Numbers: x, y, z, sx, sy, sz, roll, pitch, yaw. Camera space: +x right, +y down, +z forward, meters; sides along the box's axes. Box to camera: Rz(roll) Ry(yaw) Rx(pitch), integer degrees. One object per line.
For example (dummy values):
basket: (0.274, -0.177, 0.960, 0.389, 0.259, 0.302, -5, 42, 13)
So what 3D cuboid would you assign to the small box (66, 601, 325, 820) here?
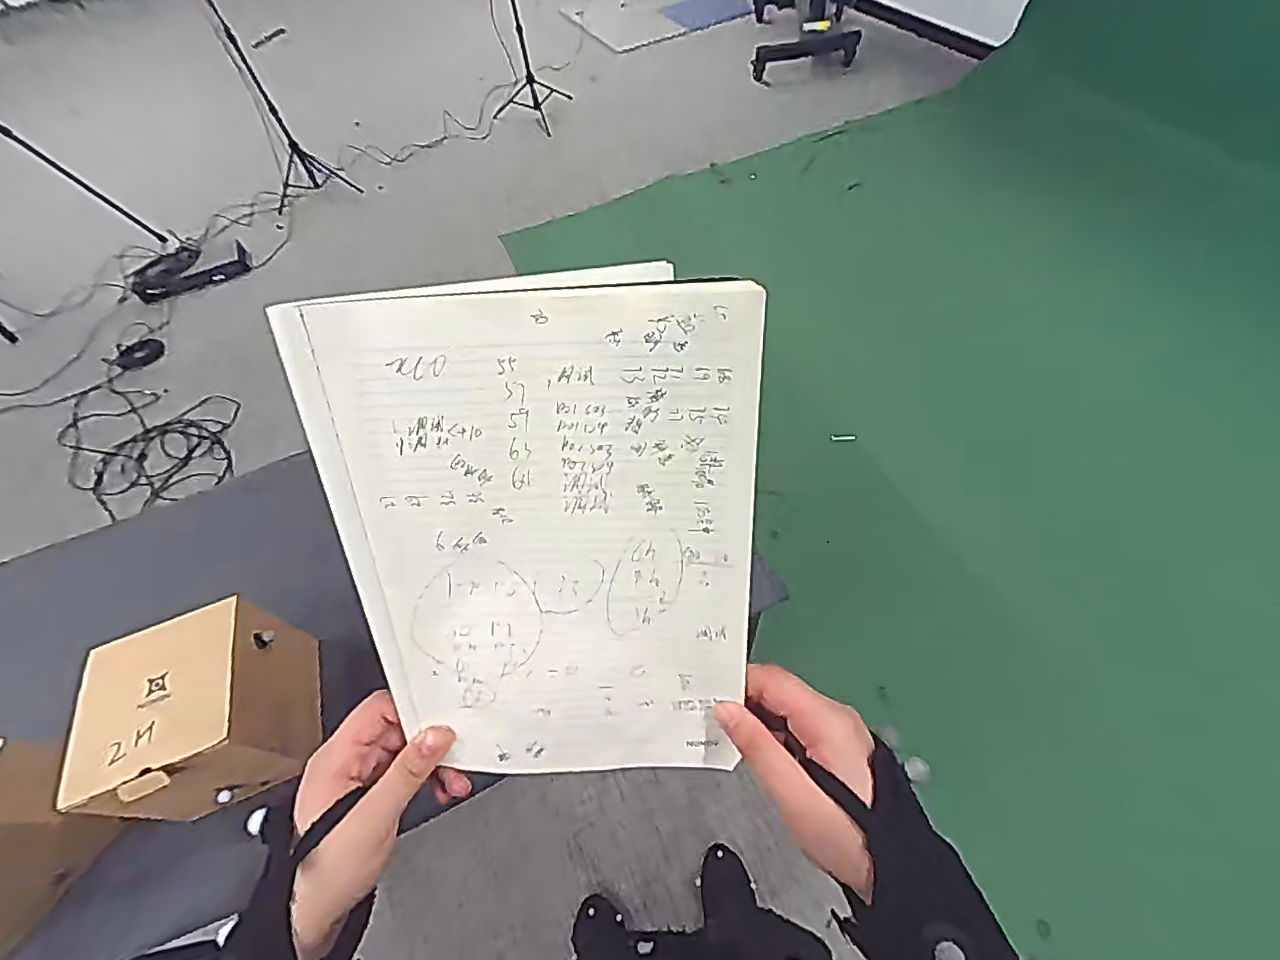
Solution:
small box: (-0.508, 0.281, 0.651, 0.168, 0.176, 0.179, -22, 56, -7)

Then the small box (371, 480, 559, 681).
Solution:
small box: (-0.218, 0.137, 0.715, 0.179, 0.176, 0.168, -25, 56, -10)
